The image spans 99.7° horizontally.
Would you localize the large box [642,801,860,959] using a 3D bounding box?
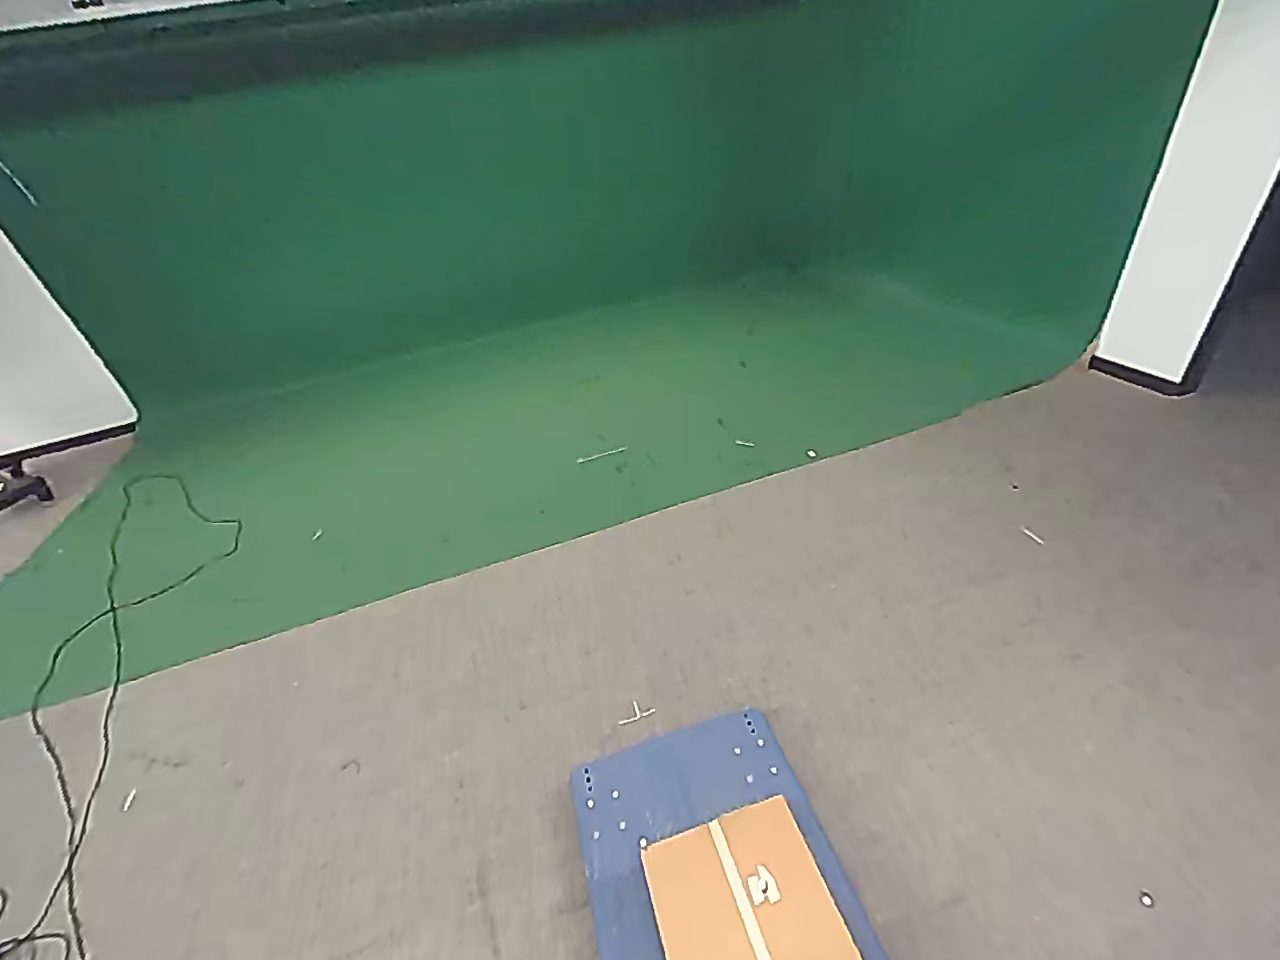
[{"bbox_3d":[0.226,0.929,1.023,0.320,0.320,0.408,-15,34,-8],"label":"large box"}]
